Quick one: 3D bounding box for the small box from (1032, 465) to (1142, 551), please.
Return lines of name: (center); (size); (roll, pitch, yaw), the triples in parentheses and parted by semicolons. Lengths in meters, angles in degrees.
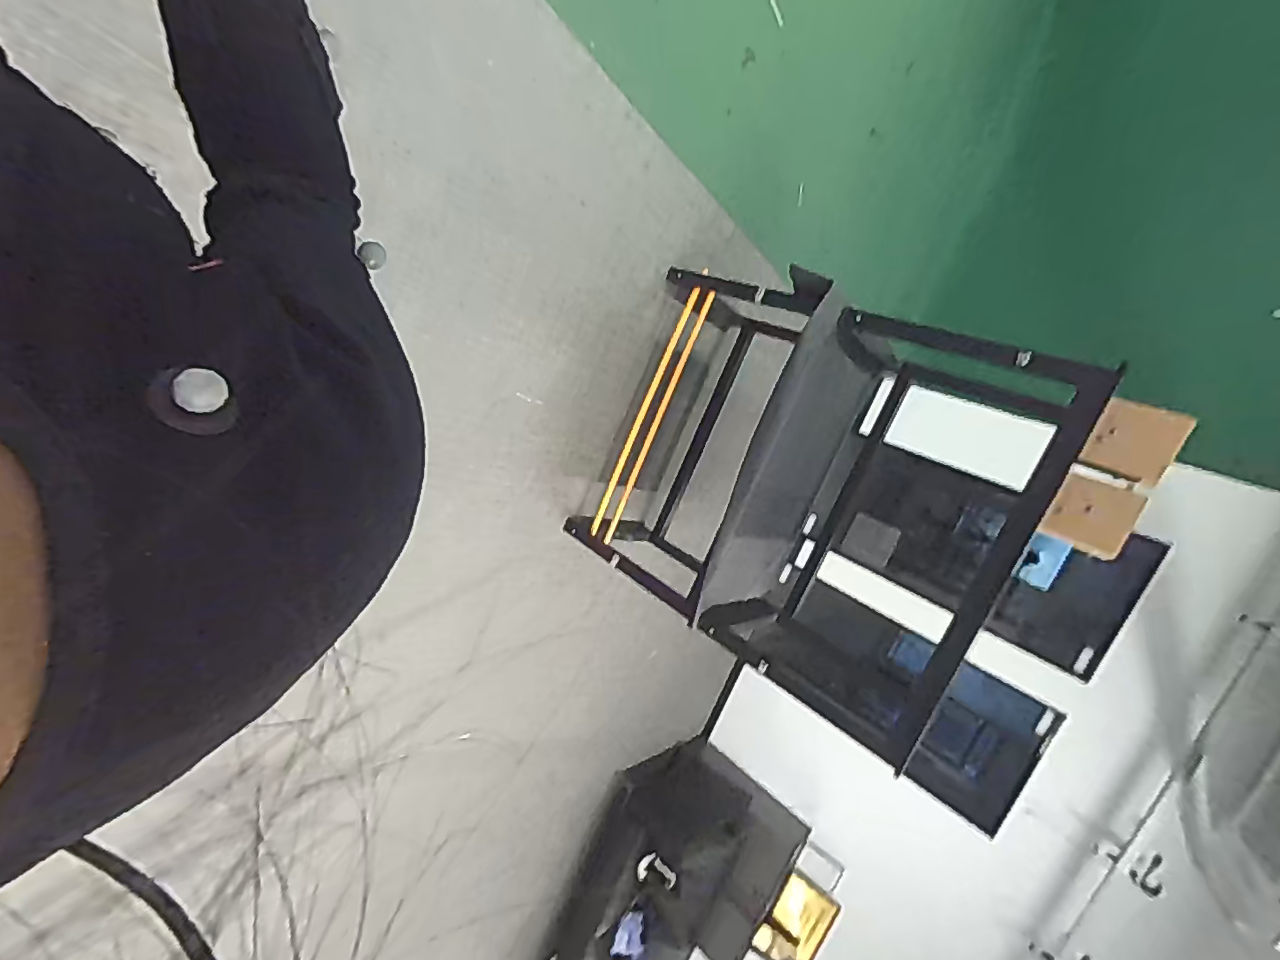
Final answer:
small box: (1.155, 0.073, 1.410); (0.179, 0.176, 0.168); (12, 105, -54)
